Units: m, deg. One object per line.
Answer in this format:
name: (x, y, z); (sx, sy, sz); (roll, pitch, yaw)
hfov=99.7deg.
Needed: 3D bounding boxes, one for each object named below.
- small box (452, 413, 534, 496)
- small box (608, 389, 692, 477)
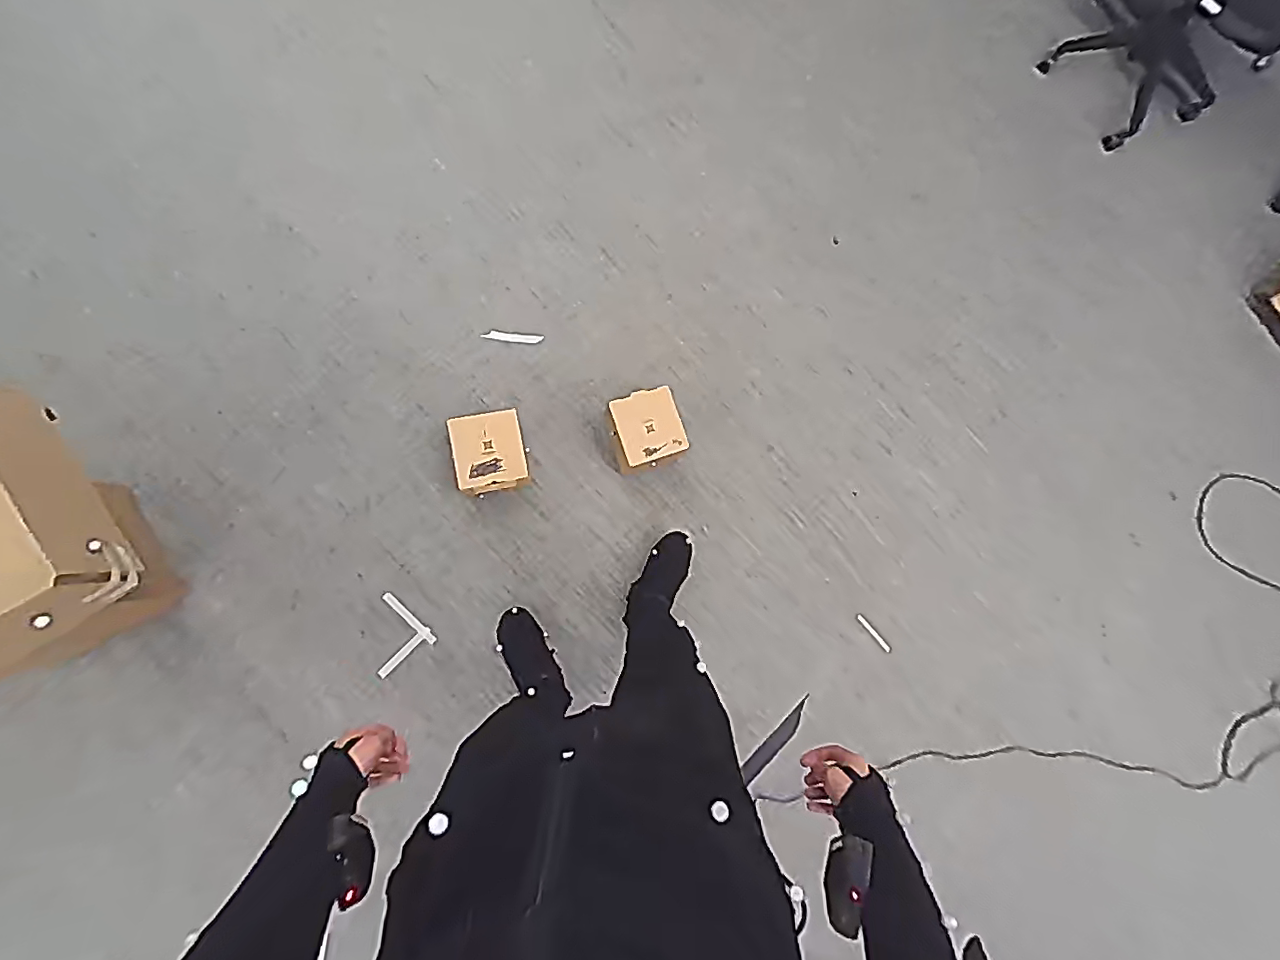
small box: (-0.366, -0.059, 1.374); (0.168, 0.176, 0.179); (-11, 85, -10)
small box: (0.019, -0.120, 1.441); (0.168, 0.176, 0.179); (-18, 85, -10)
